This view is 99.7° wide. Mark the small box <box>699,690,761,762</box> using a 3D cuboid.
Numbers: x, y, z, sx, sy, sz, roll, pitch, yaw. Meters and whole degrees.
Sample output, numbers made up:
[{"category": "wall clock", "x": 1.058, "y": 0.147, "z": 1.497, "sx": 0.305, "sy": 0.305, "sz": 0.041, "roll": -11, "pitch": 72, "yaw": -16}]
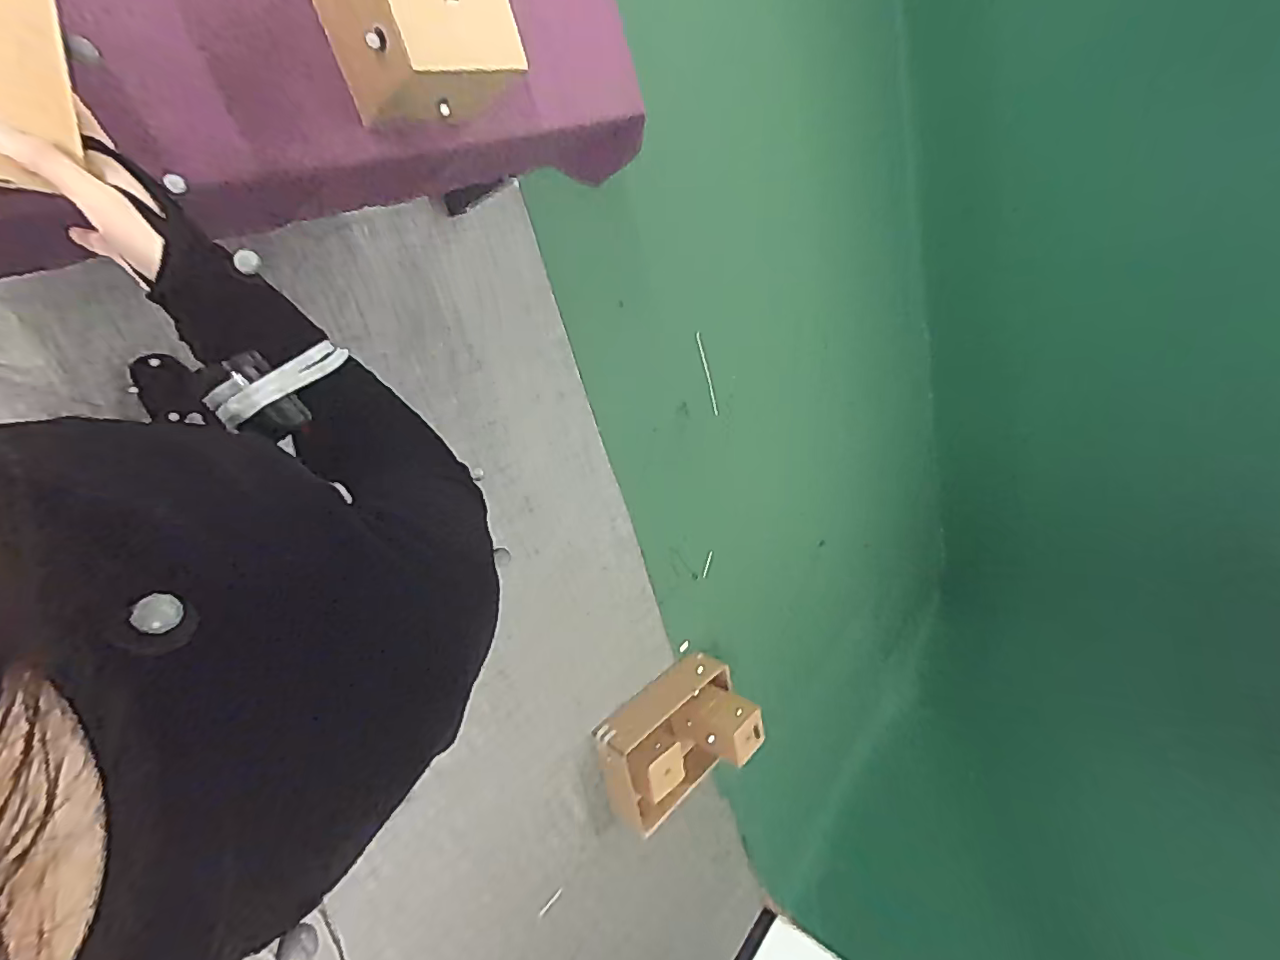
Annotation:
[{"category": "small box", "x": 0.360, "y": 0.977, "z": 2.170, "sx": 0.179, "sy": 0.176, "sz": 0.168, "roll": -26, "pitch": 112, "yaw": -38}]

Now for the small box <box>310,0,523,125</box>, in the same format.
[{"category": "small box", "x": -0.284, "y": -0.571, "z": 0.680, "sx": 0.168, "sy": 0.176, "sz": 0.179, "roll": -35, "pitch": 117, "yaw": -37}]
